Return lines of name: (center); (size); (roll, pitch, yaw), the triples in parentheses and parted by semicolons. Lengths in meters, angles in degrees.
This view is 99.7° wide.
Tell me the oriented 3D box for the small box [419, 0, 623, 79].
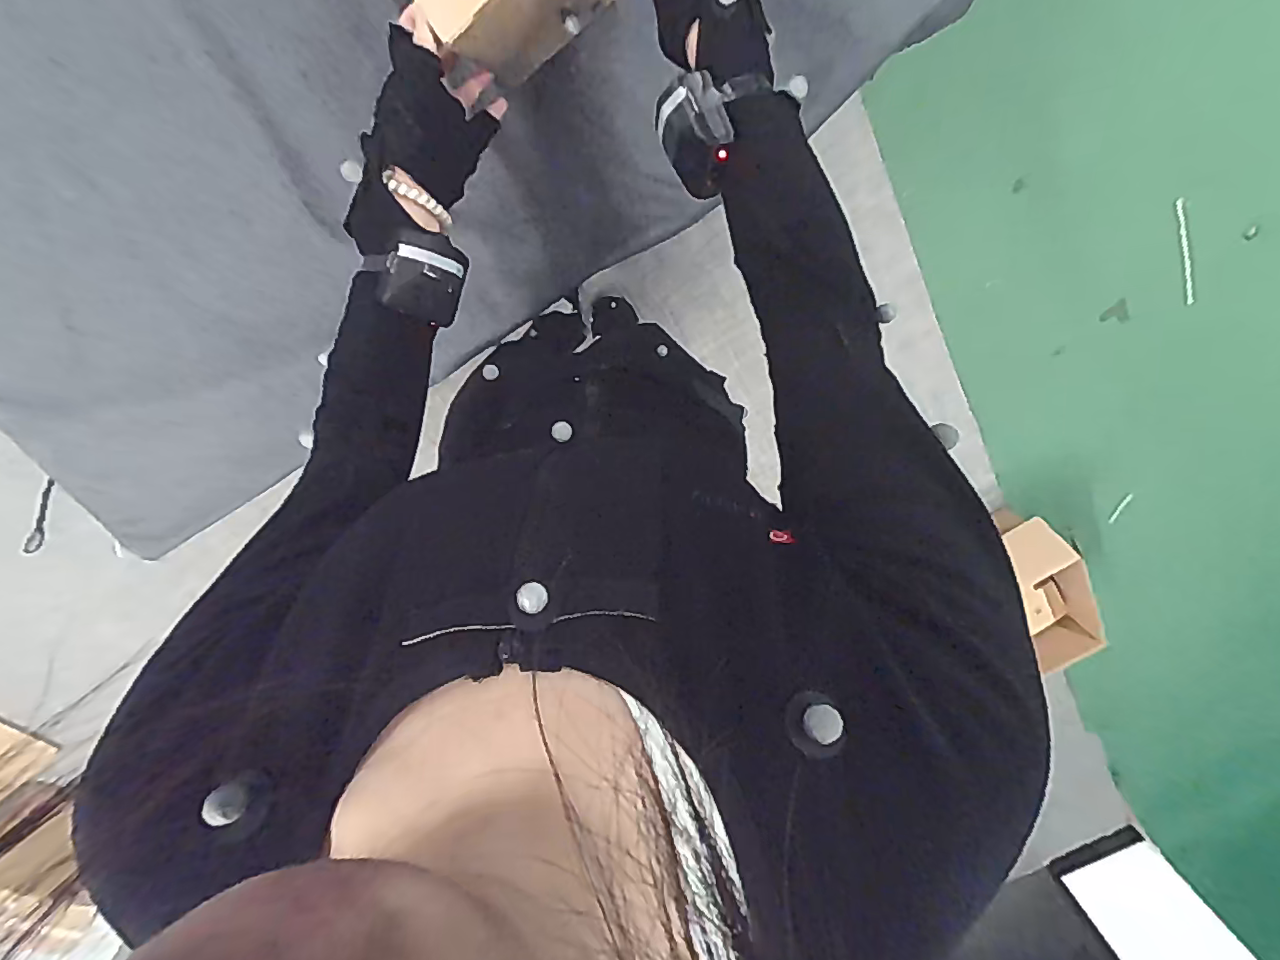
small box: (-0.109, -0.458, 0.415); (0.168, 0.176, 0.179); (-28, 110, 21)
